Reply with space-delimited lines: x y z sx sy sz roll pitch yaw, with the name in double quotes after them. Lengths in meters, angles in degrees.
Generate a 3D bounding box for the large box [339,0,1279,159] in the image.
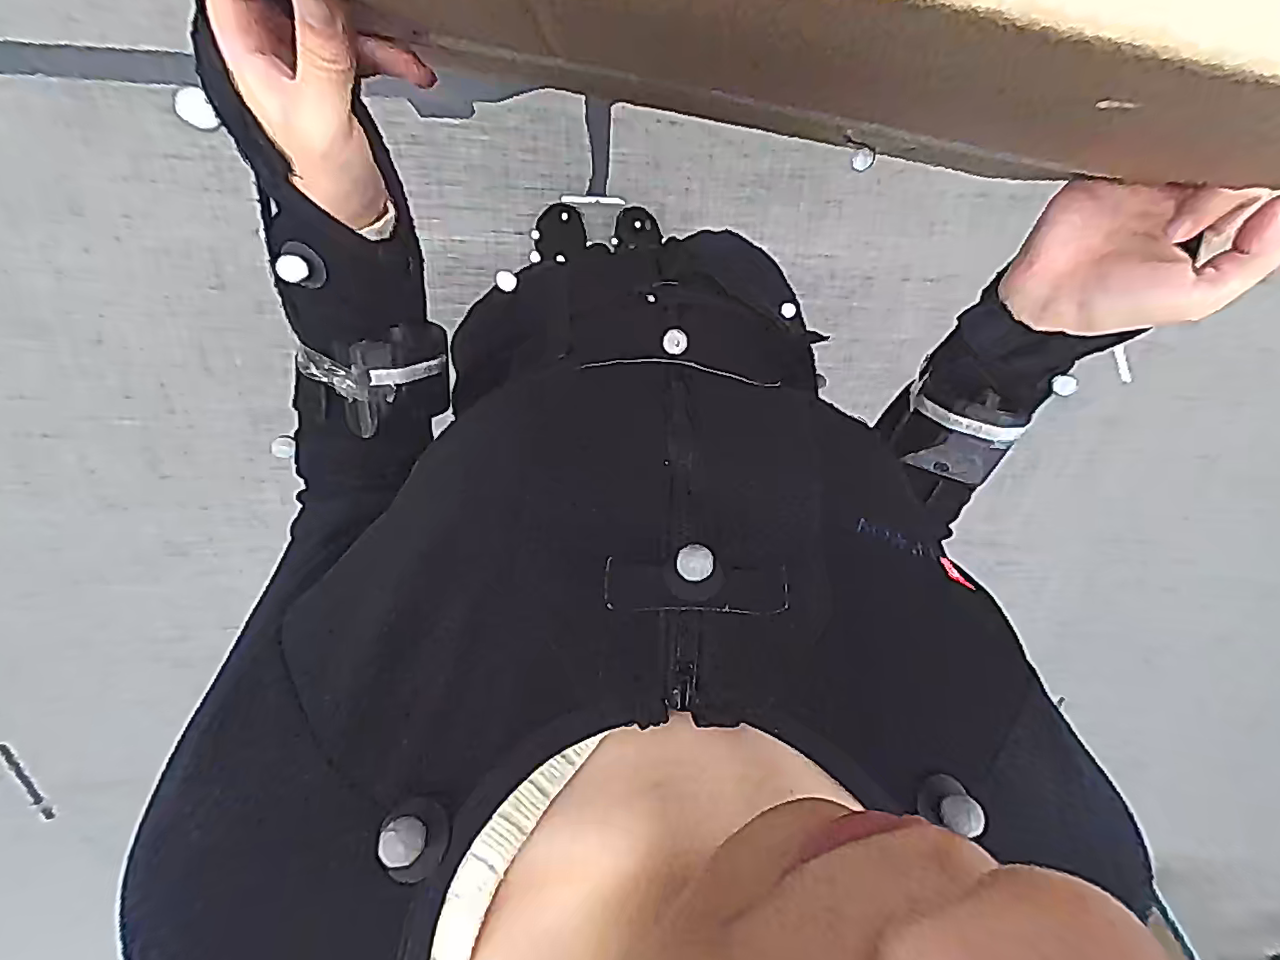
0.083 -0.310 0.159 0.408 0.320 0.320 6 121 -6 "large box"
